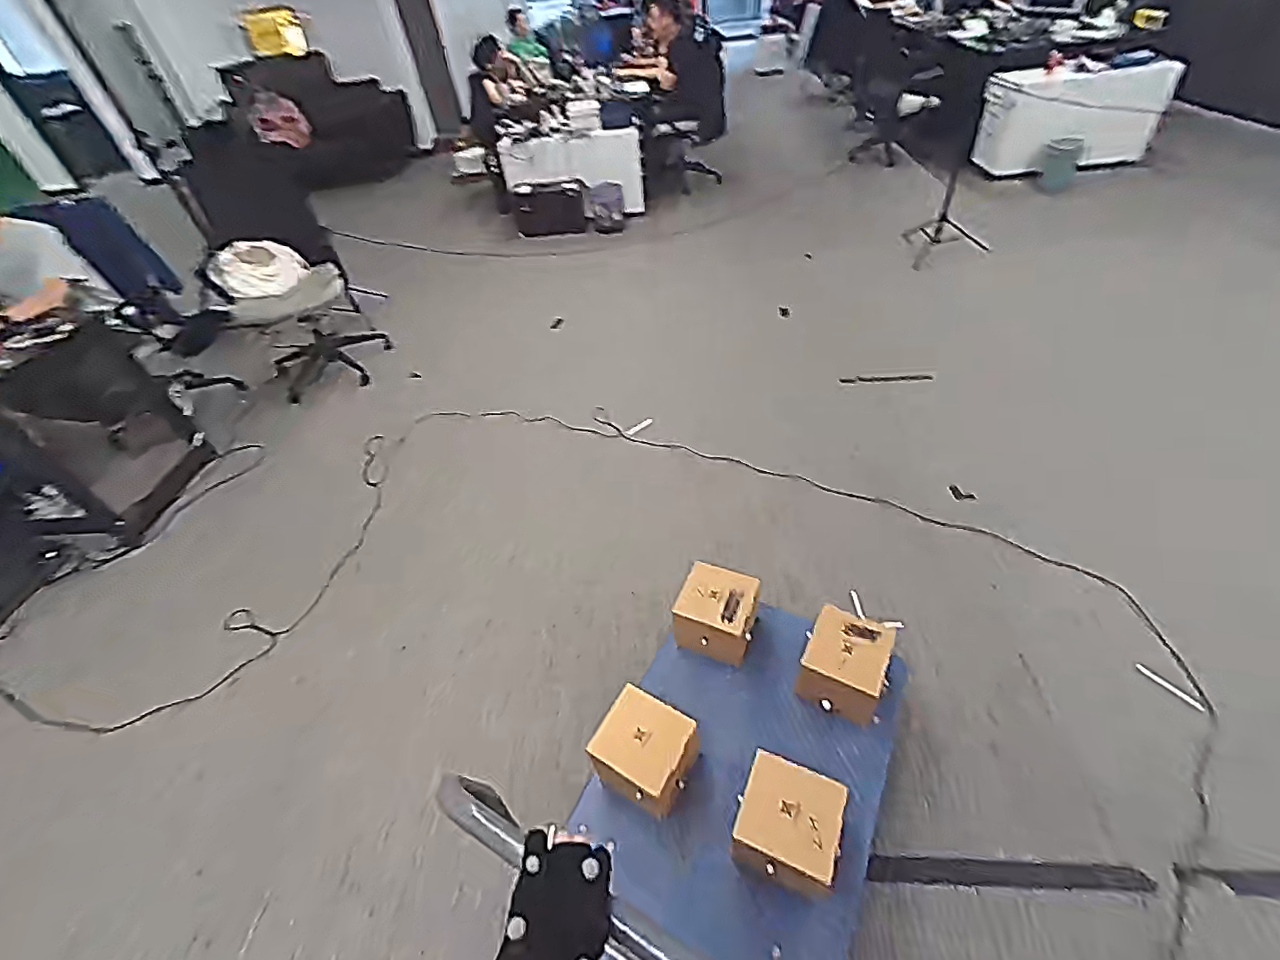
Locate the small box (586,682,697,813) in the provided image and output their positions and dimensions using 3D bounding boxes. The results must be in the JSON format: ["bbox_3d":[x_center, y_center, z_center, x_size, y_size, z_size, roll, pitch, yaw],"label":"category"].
[{"bbox_3d":[0.008,0.581,1.170,0.179,0.176,0.168,22,51,25],"label":"small box"}]

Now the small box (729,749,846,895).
[{"bbox_3d":[0.280,0.663,1.046,0.179,0.176,0.168,16,49,22],"label":"small box"}]

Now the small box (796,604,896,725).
[{"bbox_3d":[0.472,0.429,1.257,0.168,0.176,0.179,19,52,25],"label":"small box"}]
